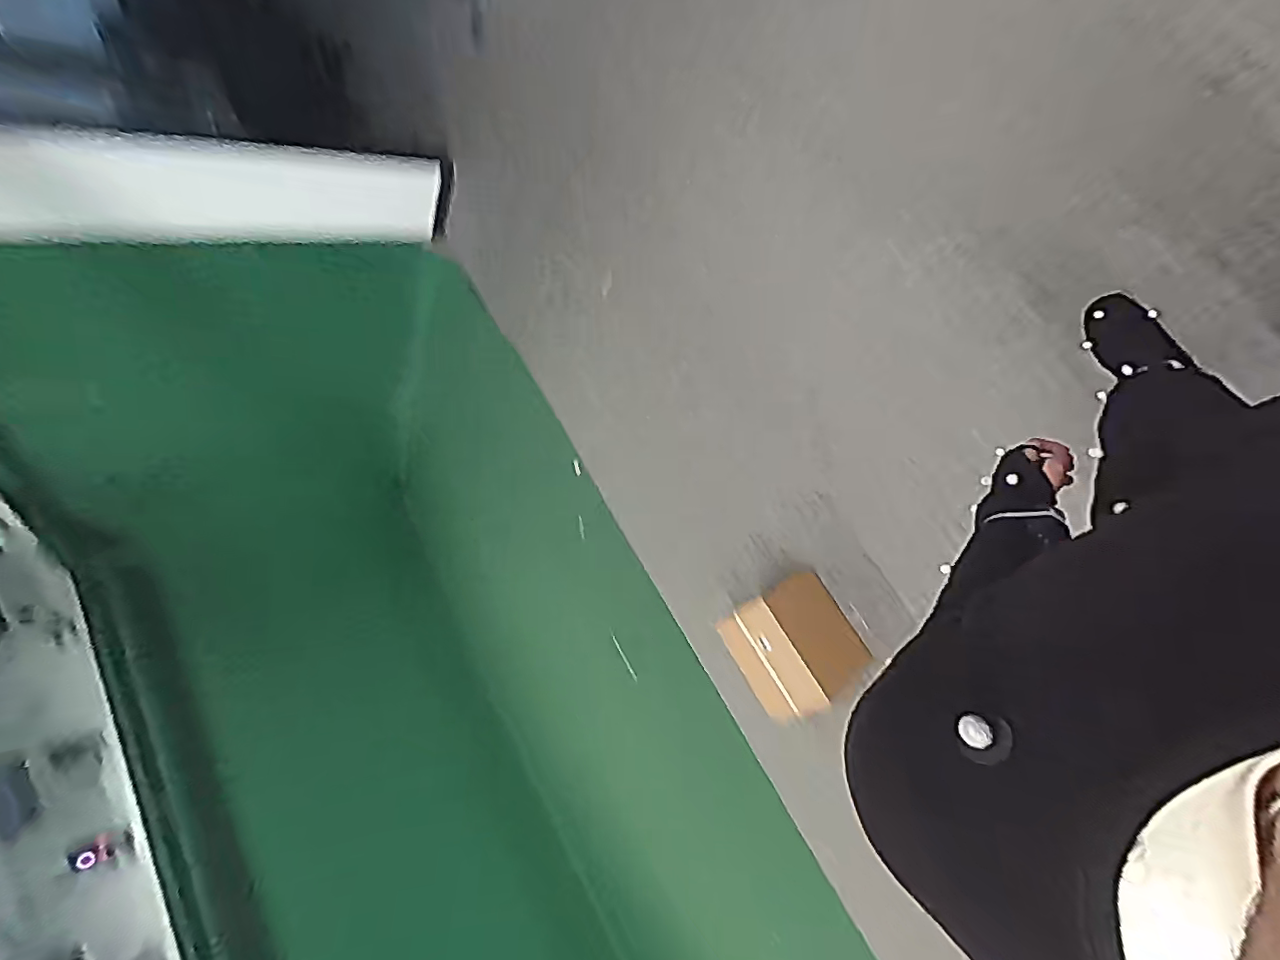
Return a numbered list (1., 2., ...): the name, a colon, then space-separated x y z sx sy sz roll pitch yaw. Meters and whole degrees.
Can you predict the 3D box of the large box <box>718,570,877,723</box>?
1. large box: 0.575 0.608 1.995 0.408 0.320 0.320 59 140 16
